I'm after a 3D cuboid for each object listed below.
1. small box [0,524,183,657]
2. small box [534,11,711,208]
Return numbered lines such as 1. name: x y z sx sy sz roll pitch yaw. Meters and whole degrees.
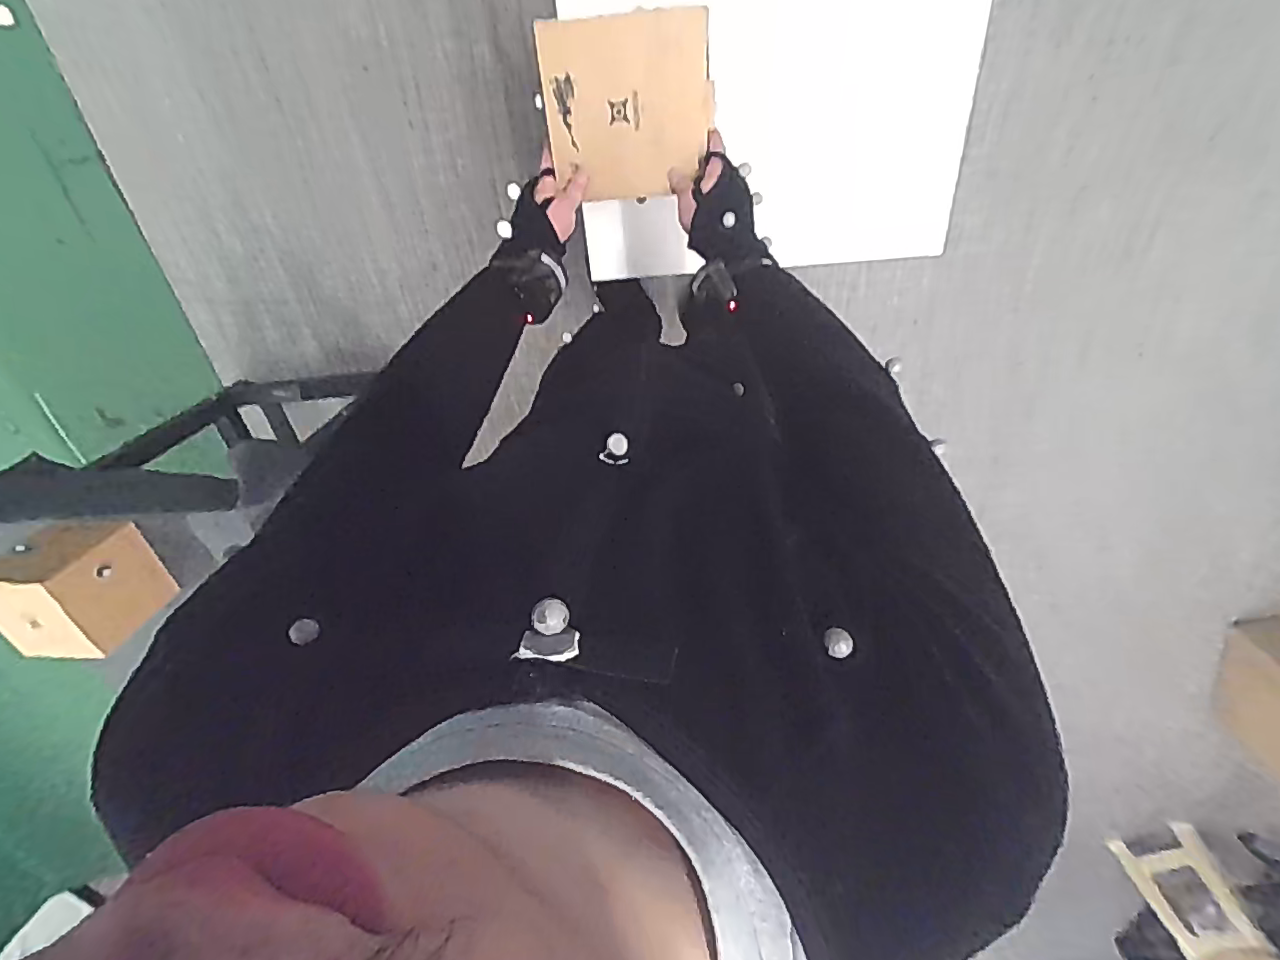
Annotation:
1. small box: -0.991 0.192 0.966 0.168 0.176 0.179 -1 124 7
2. small box: -0.011 -0.425 0.635 0.179 0.176 0.168 -2 122 5
